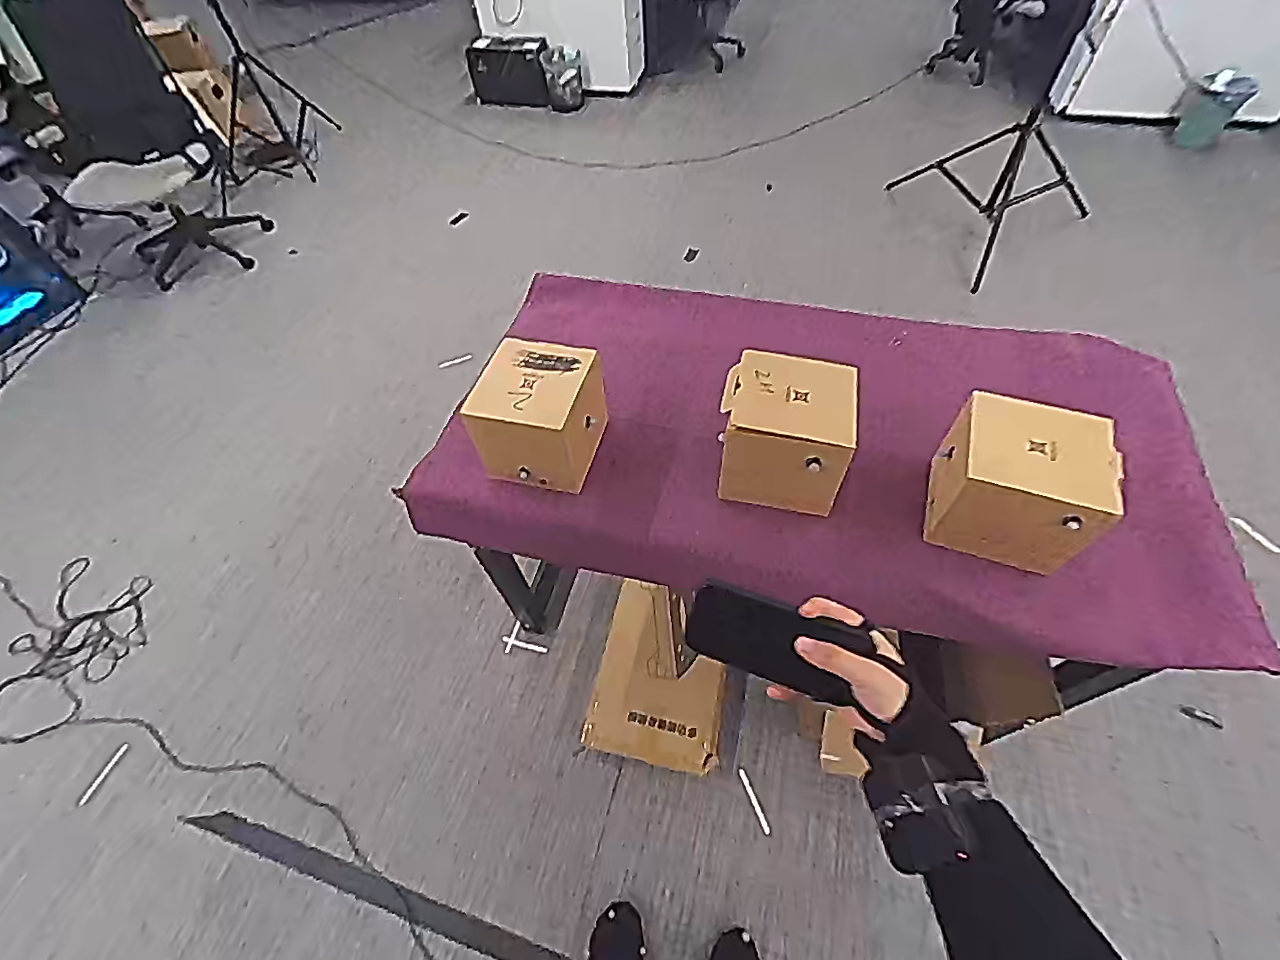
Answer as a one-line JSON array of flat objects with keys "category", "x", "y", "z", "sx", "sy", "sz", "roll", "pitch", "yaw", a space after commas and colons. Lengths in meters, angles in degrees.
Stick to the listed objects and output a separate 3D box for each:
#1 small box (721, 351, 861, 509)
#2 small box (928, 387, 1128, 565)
[{"category": "small box", "x": 0.230, "y": -0.074, "z": 0.840, "sx": 0.179, "sy": 0.176, "sz": 0.168, "roll": 10, "pitch": 53, "yaw": 11}, {"category": "small box", "x": 0.532, "y": -0.002, "z": 0.768, "sx": 0.179, "sy": 0.176, "sz": 0.168, "roll": 16, "pitch": 57, "yaw": 14}]
